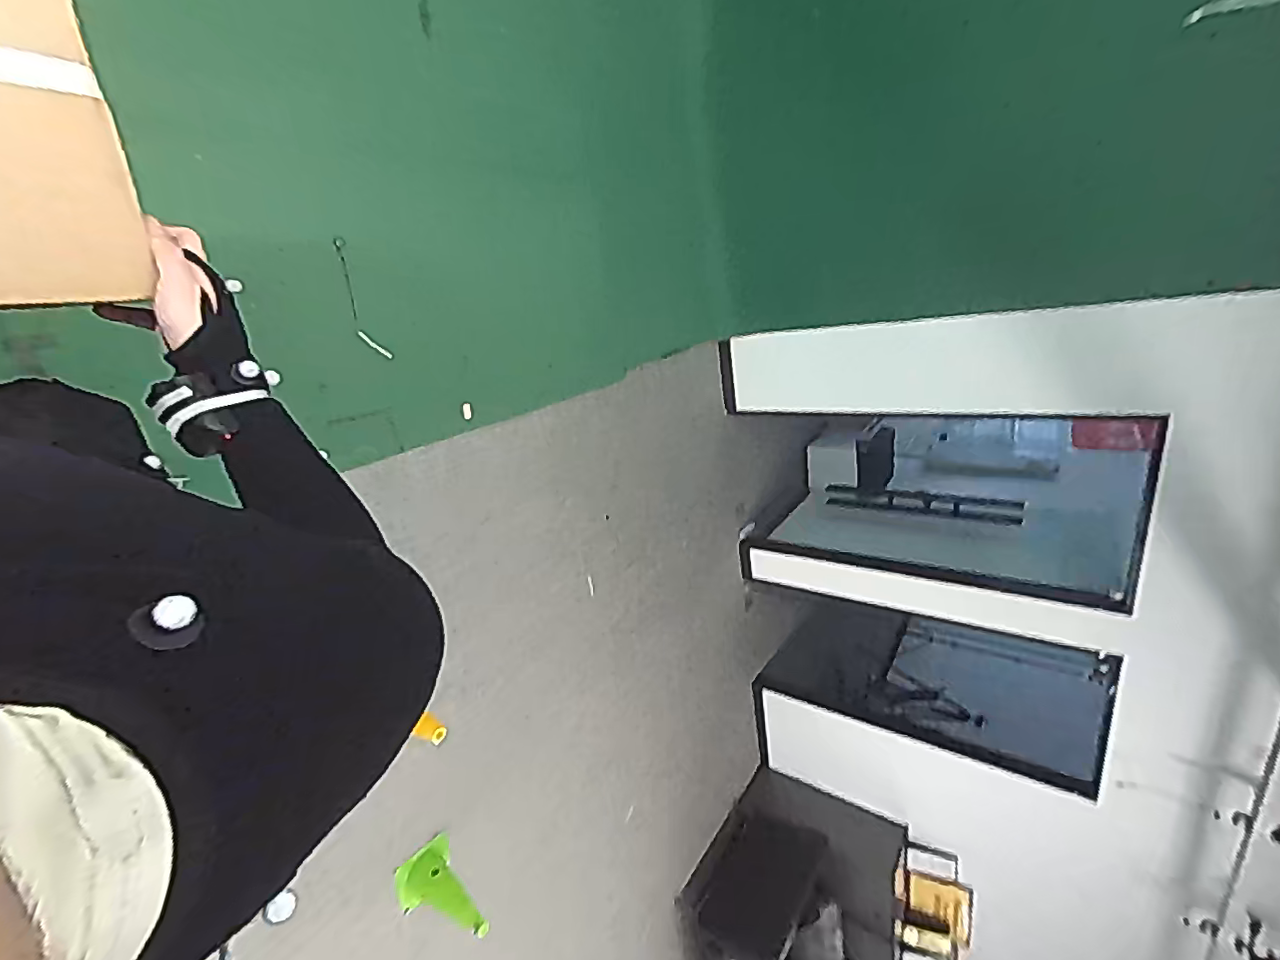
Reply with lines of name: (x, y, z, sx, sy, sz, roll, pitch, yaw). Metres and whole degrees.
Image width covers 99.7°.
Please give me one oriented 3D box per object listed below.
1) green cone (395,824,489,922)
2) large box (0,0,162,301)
green cone: (-0.647, 1.406, 1.868, 0.200, 0.368, 0.202, -23, 112, -50)
large box: (-0.663, -0.279, 0.364, 0.408, 0.320, 0.320, -26, 120, -48)
